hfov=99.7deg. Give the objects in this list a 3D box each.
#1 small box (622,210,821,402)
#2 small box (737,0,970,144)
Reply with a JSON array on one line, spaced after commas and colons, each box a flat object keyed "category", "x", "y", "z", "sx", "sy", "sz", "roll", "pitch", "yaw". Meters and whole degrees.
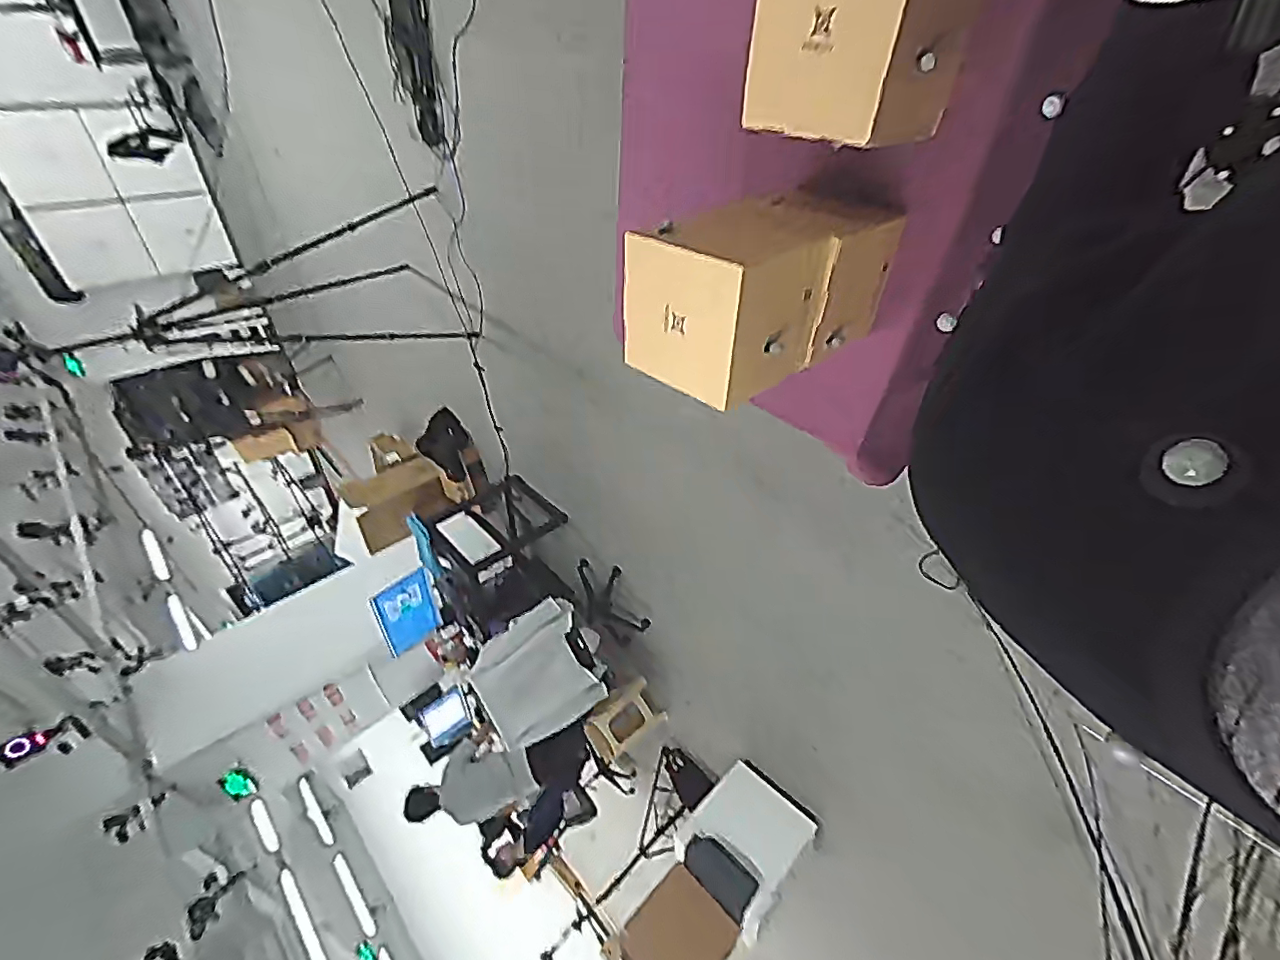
[{"category": "small box", "x": 0.097, "y": -0.225, "z": 0.672, "sx": 0.179, "sy": 0.176, "sz": 0.168, "roll": 35, "pitch": 139, "yaw": 35}, {"category": "small box", "x": 0.233, "y": -0.486, "z": 0.587, "sx": 0.168, "sy": 0.176, "sz": 0.179, "roll": 36, "pitch": 140, "yaw": 32}]
